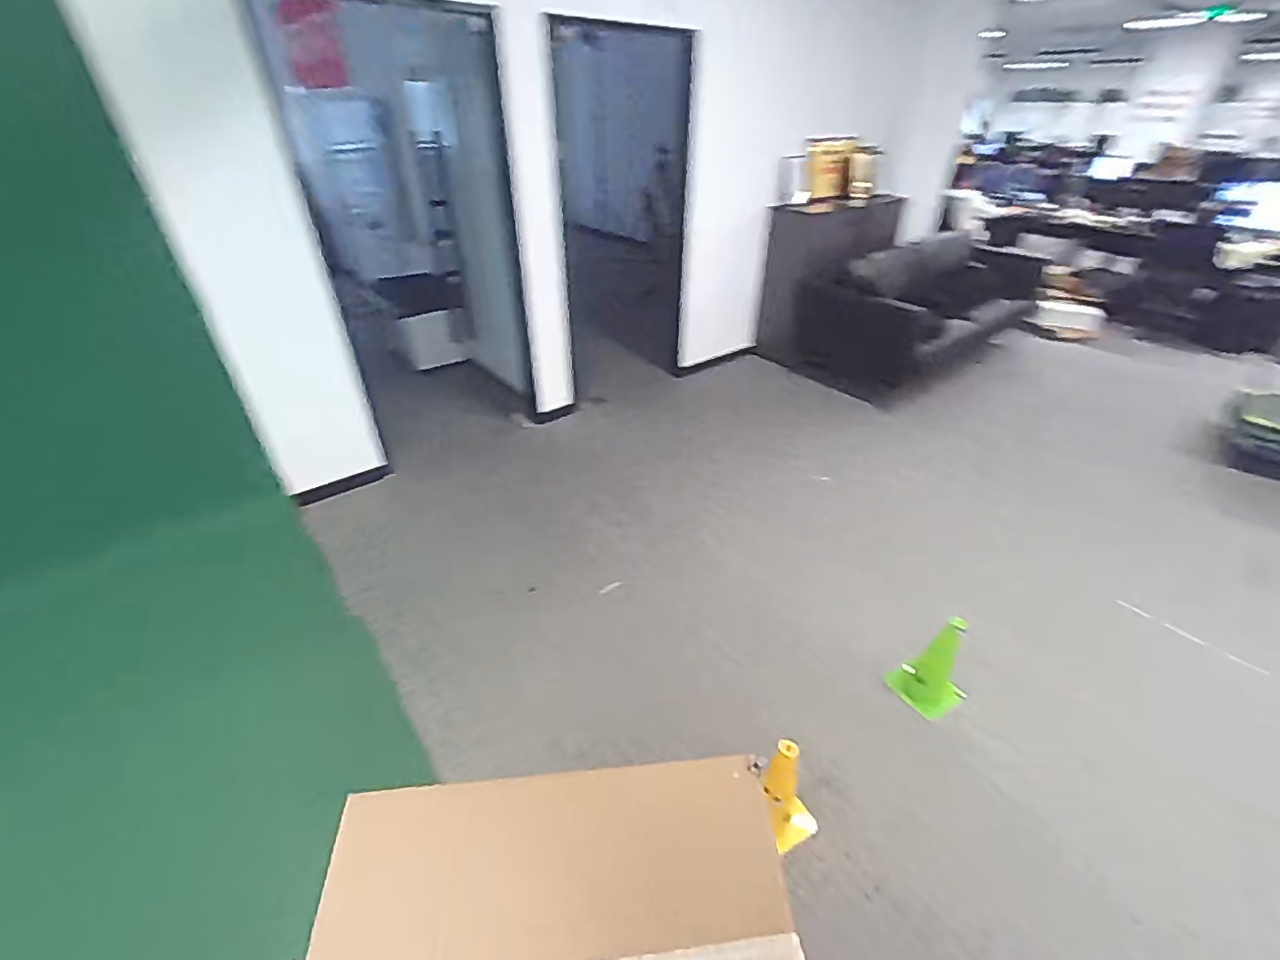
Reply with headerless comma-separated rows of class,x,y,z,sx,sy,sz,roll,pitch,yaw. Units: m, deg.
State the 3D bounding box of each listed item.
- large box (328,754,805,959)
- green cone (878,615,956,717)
large box,-0.067,0.512,0.550,0.408,0.320,0.320,-1,46,-7
green cone,0.981,0.585,1.823,0.202,0.368,0.200,-21,40,-26
